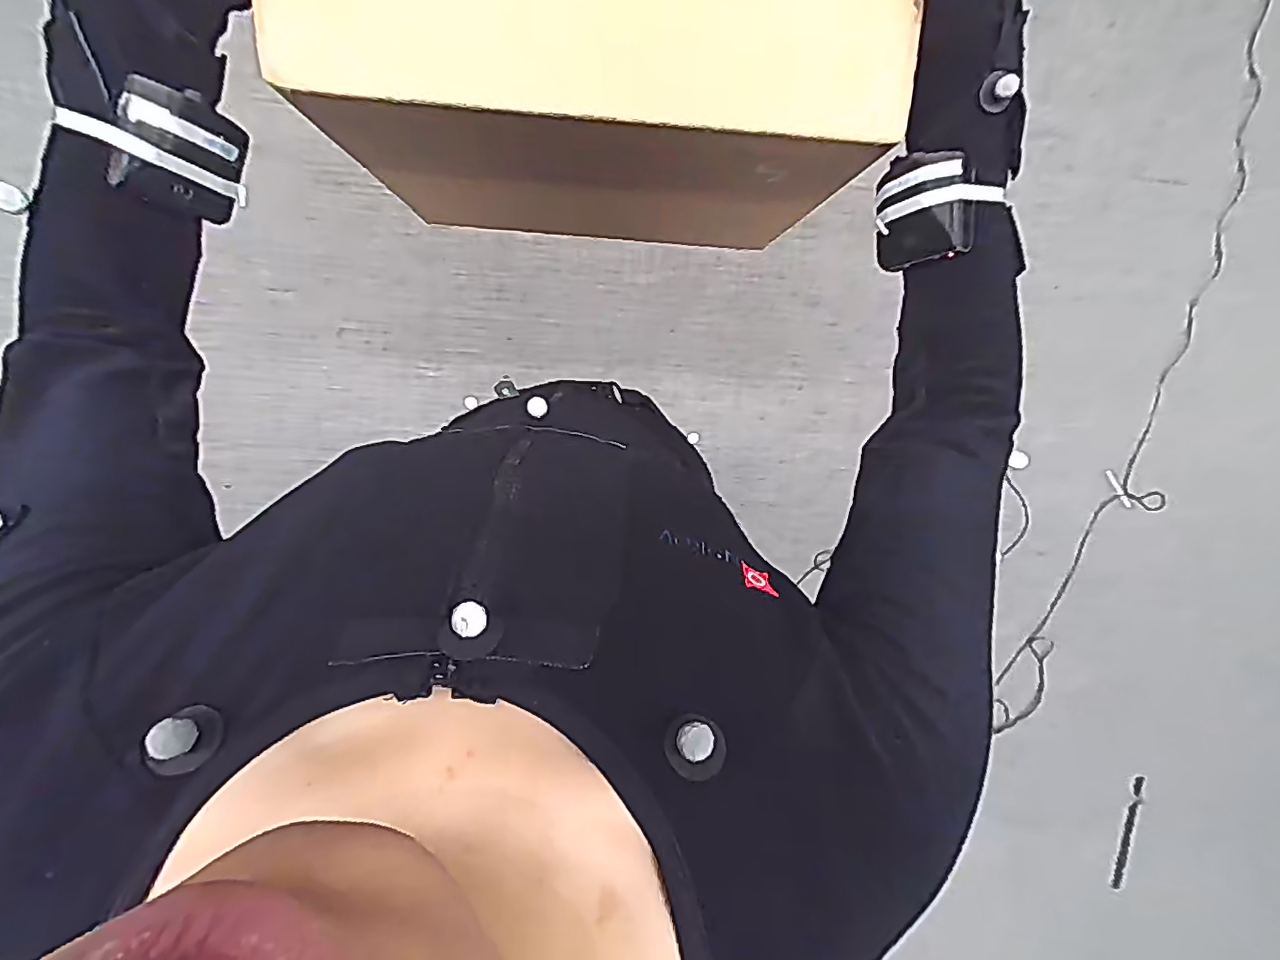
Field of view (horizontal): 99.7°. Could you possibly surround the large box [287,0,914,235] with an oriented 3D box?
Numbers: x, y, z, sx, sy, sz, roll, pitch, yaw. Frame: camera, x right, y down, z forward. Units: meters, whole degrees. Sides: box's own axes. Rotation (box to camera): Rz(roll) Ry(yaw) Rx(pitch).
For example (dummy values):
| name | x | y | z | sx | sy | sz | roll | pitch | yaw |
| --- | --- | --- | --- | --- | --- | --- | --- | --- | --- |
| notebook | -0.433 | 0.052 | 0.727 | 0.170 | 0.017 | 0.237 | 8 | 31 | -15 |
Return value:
| name | x | y | z | sx | sy | sz | roll | pitch | yaw |
| --- | --- | --- | --- | --- | --- | --- | --- | --- | --- |
| large box | -0.028 | -0.420 | 0.471 | 0.408 | 0.320 | 0.320 | 1 | 102 | -5 |
